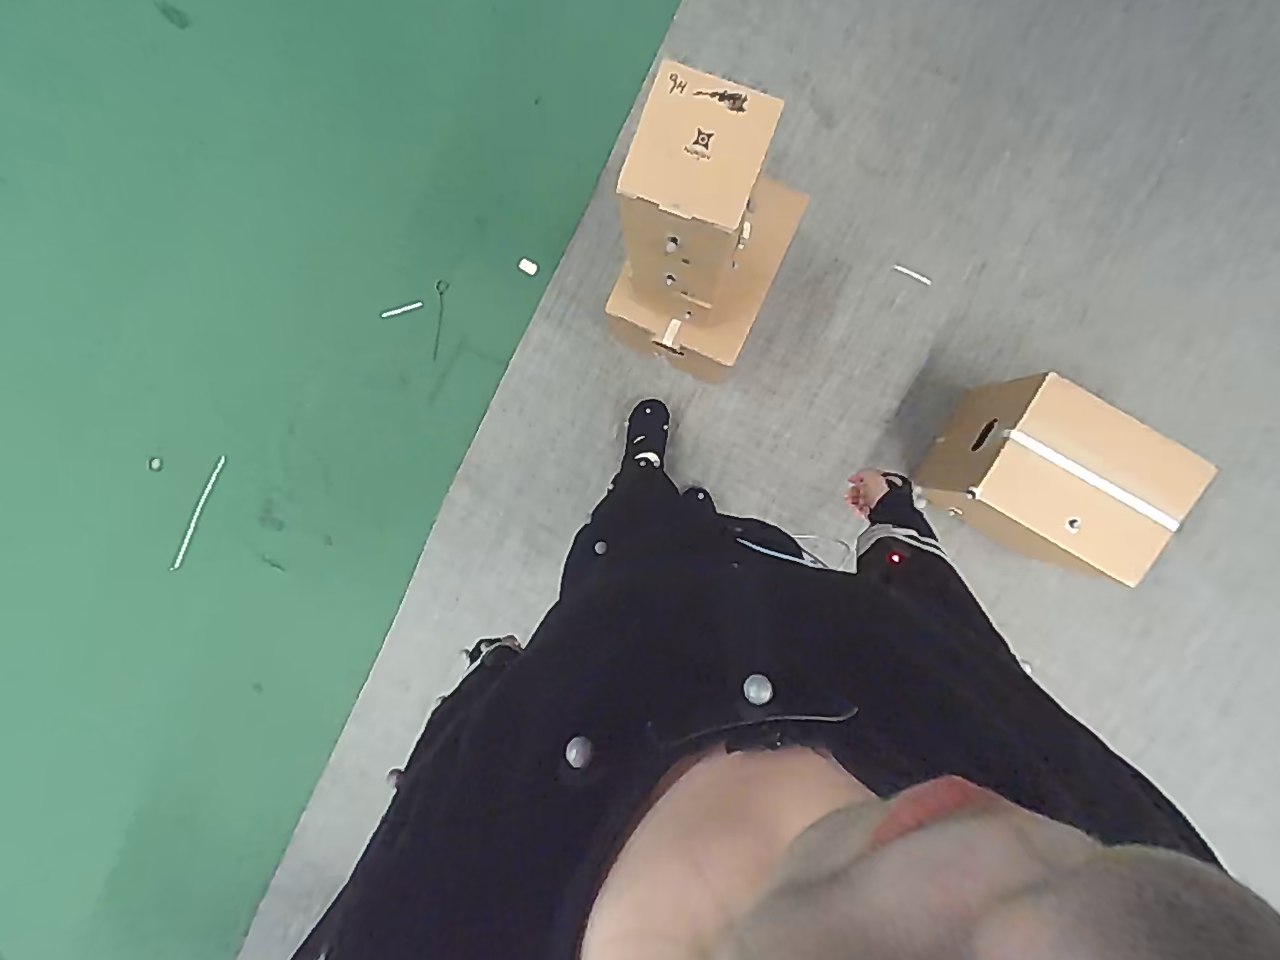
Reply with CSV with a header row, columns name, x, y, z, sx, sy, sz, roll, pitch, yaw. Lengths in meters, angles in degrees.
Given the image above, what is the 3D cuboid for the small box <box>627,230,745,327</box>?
name,x,y,z,sx,sy,sz,roll,pitch,yaw
small box,0.090,-0.426,1.088,0.179,0.176,0.168,24,92,3

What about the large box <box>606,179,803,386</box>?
name,x,y,z,sx,sy,sz,roll,pitch,yaw
large box,0.147,-0.491,1.327,0.320,0.320,0.408,25,92,2

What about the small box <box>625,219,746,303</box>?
name,x,y,z,sx,sy,sz,roll,pitch,yaw
small box,0.085,-0.426,0.925,0.168,0.176,0.179,19,92,2

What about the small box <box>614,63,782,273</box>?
name,x,y,z,sx,sy,sz,roll,pitch,yaw
small box,0.078,-0.419,0.760,0.168,0.176,0.179,21,93,2
